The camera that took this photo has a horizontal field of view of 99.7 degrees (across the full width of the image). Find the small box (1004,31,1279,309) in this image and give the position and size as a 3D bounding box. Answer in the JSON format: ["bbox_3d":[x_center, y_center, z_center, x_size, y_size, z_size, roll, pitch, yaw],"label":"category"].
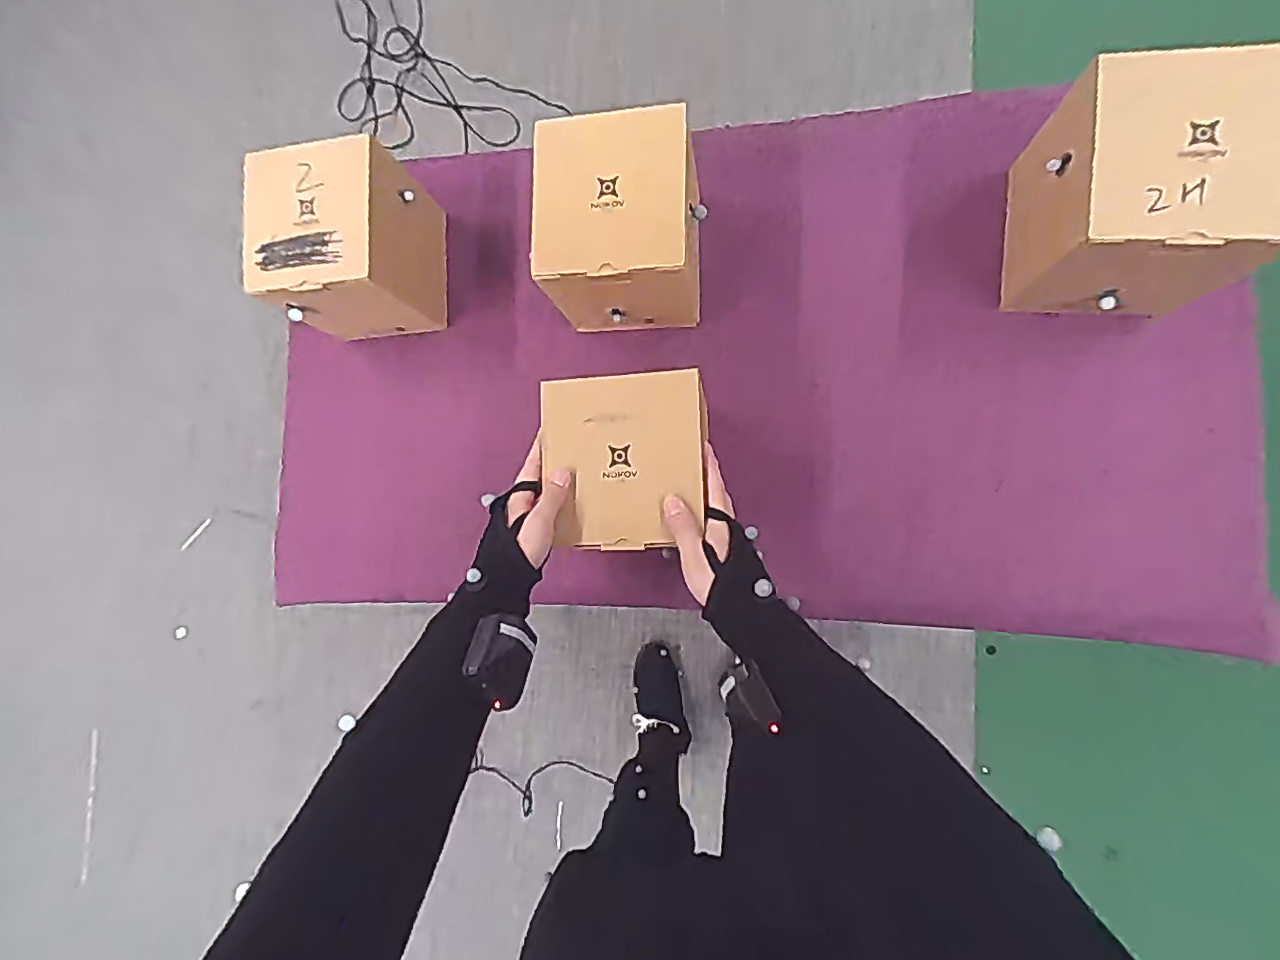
[{"bbox_3d":[0.489,-0.287,0.532,0.168,0.176,0.179,5,88,12],"label":"small box"}]

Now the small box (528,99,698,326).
[{"bbox_3d":[-0.022,-0.296,0.633,0.168,0.176,0.179,-1,88,10],"label":"small box"}]

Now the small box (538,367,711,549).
[{"bbox_3d":[-0.008,-0.016,0.613,0.168,0.176,0.179,-3,85,10],"label":"small box"}]
